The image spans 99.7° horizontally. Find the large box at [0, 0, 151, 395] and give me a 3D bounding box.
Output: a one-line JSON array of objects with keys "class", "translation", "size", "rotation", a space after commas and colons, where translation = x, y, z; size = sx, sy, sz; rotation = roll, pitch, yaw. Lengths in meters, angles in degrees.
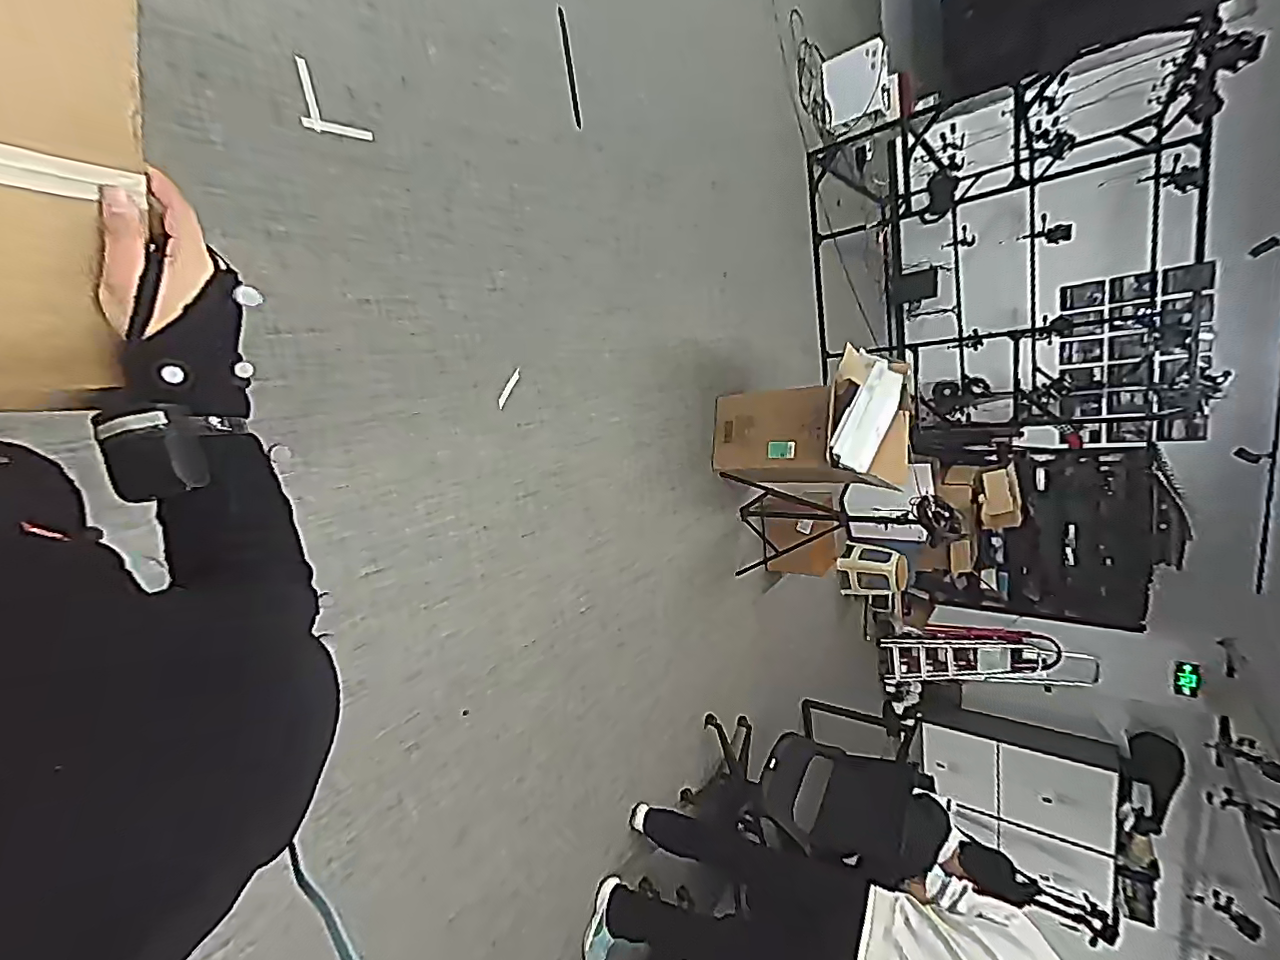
[{"class": "large box", "translation": [-0.557, -0.244, 0.269], "size": [0.408, 0.320, 0.320], "rotation": [-13, 135, -51]}]
